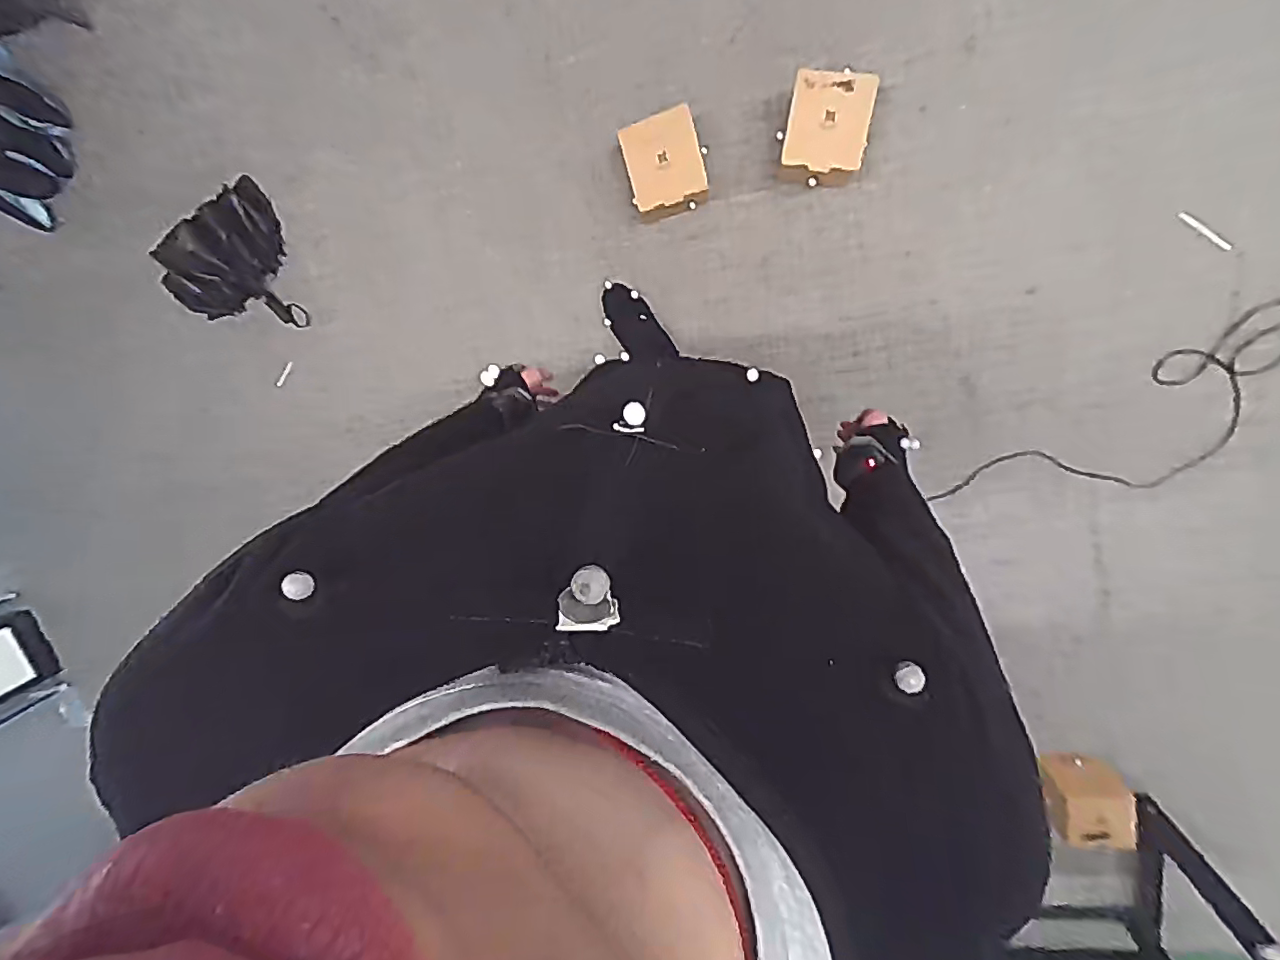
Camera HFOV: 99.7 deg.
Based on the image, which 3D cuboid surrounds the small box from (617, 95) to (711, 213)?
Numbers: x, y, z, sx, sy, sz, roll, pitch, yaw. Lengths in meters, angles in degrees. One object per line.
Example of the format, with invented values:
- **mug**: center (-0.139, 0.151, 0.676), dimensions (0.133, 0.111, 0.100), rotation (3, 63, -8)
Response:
- **small box**: center (0.063, -0.739, 1.254), dimensions (0.168, 0.176, 0.179), rotation (-16, 104, 13)

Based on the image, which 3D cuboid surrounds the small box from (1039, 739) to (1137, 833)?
- **small box**: center (1.297, 0.889, 1.576), dimensions (0.168, 0.176, 0.179), rotation (-9, 105, 12)

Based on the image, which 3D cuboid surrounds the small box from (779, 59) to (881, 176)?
- **small box**: center (0.403, -0.778, 1.178), dimensions (0.168, 0.176, 0.179), rotation (10, 110, 7)
